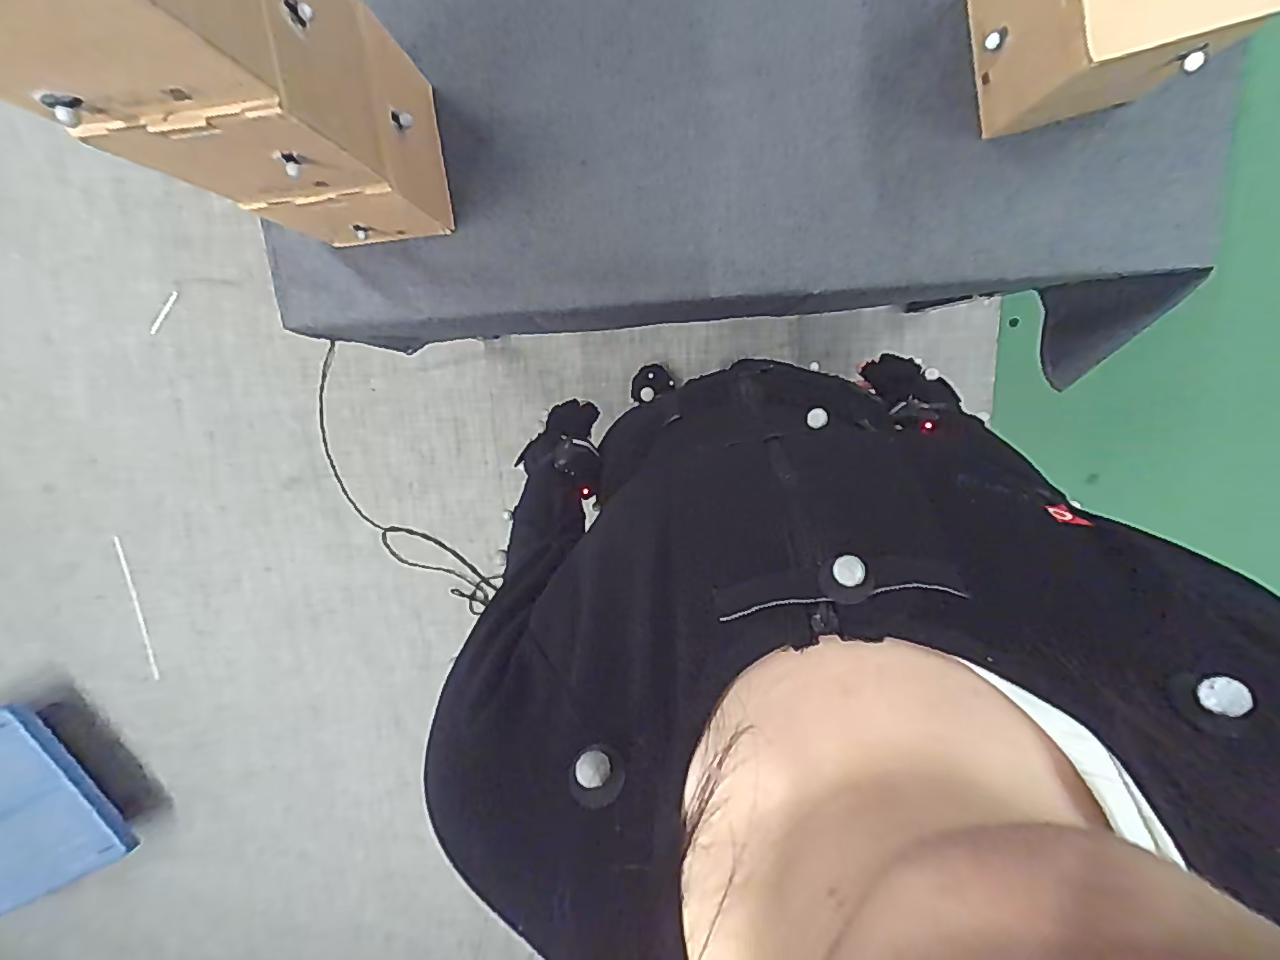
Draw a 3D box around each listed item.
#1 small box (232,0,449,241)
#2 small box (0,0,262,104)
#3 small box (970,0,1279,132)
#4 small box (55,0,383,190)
[{"bbox_3d":[-0.335,-0.387,0.607,0.168,0.176,0.179,-5,102,3],"label":"small box"},{"bbox_3d":[-0.346,-0.331,0.285,0.168,0.176,0.179,-6,101,2],"label":"small box"},{"bbox_3d":[0.472,-0.490,0.544,0.179,0.176,0.168,-13,101,6],"label":"small box"},{"bbox_3d":[-0.339,-0.357,0.447,0.168,0.176,0.179,-5,102,2],"label":"small box"}]
